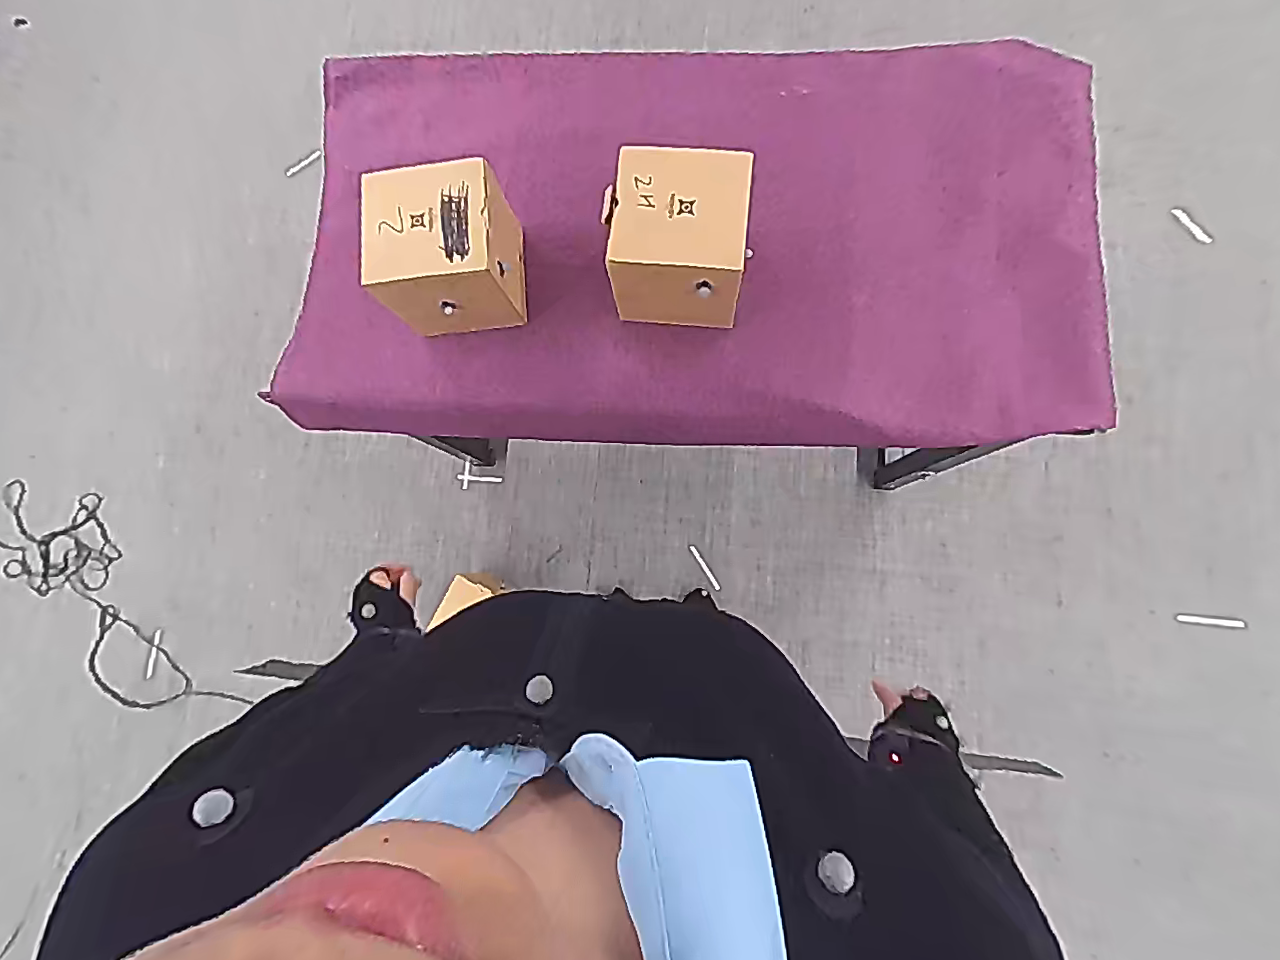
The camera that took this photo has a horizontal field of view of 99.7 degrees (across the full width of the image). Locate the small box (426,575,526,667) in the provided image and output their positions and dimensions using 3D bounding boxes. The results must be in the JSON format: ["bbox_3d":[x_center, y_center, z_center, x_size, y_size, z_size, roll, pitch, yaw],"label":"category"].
[{"bbox_3d":[-0.426,0.368,1.440,0.168,0.176,0.179,26,84,8],"label":"small box"}]

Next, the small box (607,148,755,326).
[{"bbox_3d":[0.059,-0.332,0.766,0.179,0.176,0.168,6,81,6],"label":"small box"}]
